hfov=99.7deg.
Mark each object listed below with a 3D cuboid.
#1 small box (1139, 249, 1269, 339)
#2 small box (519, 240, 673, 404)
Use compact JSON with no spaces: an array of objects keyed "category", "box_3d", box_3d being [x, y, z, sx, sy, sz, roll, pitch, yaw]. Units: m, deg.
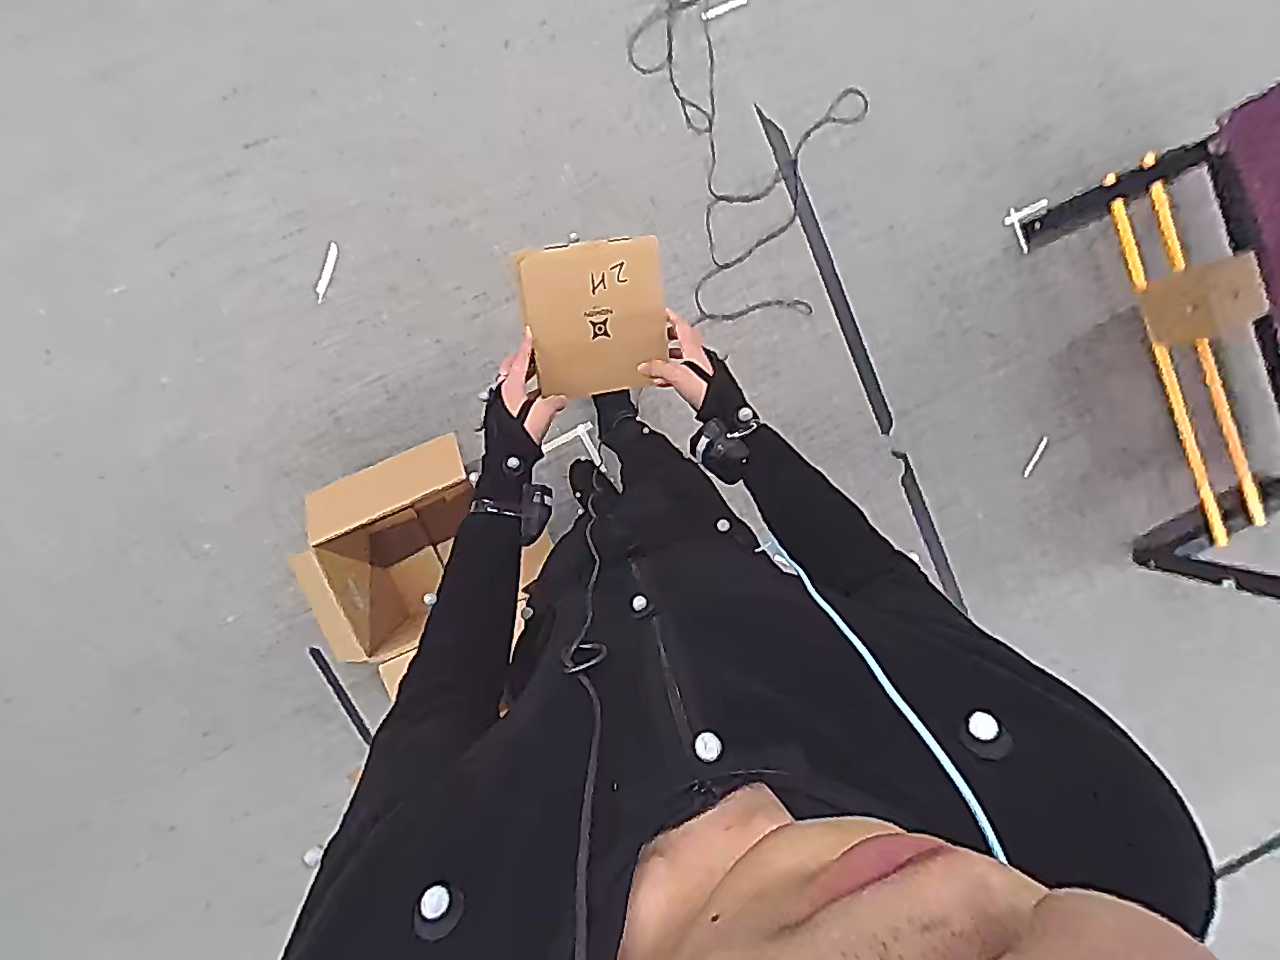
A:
[{"category":"small box","box_3d":[1.571,-0.509,1.515,0.168,0.176,0.179,-27,98,-2]},{"category":"small box","box_3d":[-0.062,-0.215,0.716,0.168,0.176,0.179,-11,113,-12]}]
